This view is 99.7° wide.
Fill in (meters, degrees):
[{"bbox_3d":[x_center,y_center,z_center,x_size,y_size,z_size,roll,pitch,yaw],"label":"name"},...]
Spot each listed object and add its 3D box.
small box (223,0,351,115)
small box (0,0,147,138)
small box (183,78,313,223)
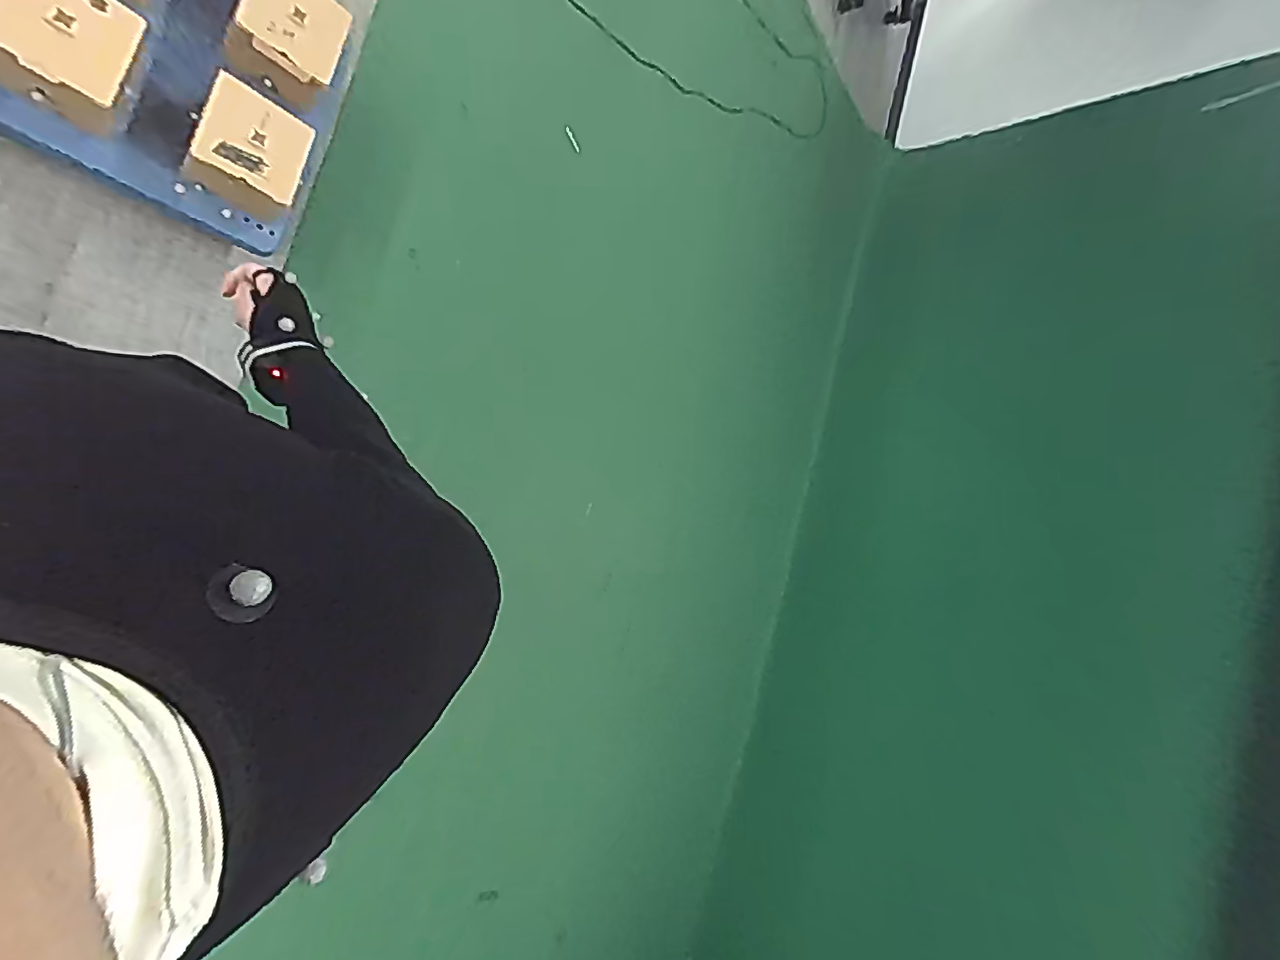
[{"bbox_3d":[-0.739,-0.919,1.127,0.168,0.176,0.179,21,82,-45],"label":"small box"},{"bbox_3d":[-0.975,-0.726,0.913,0.168,0.176,0.179,23,80,-46],"label":"small box"},{"bbox_3d":[-0.814,-0.664,1.118,0.168,0.176,0.179,20,81,-47],"label":"small box"}]
